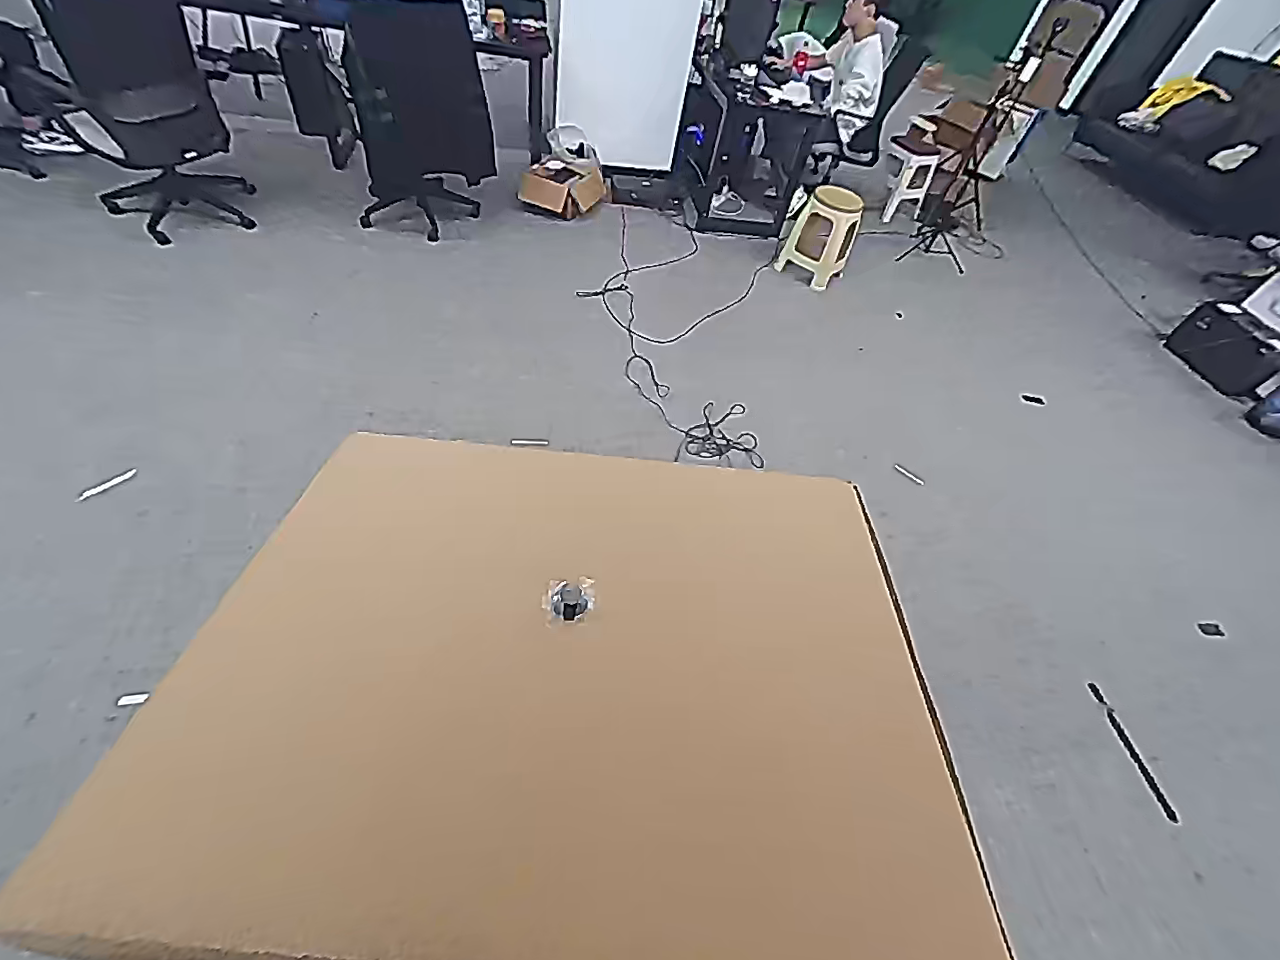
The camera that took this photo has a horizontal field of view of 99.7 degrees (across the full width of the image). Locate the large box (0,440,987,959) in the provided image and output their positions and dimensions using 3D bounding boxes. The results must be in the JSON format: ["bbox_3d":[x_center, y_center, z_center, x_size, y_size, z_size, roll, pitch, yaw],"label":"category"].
[{"bbox_3d":[-0.060,0.187,0.419,0.408,0.320,0.320,4,44,0],"label":"large box"}]
